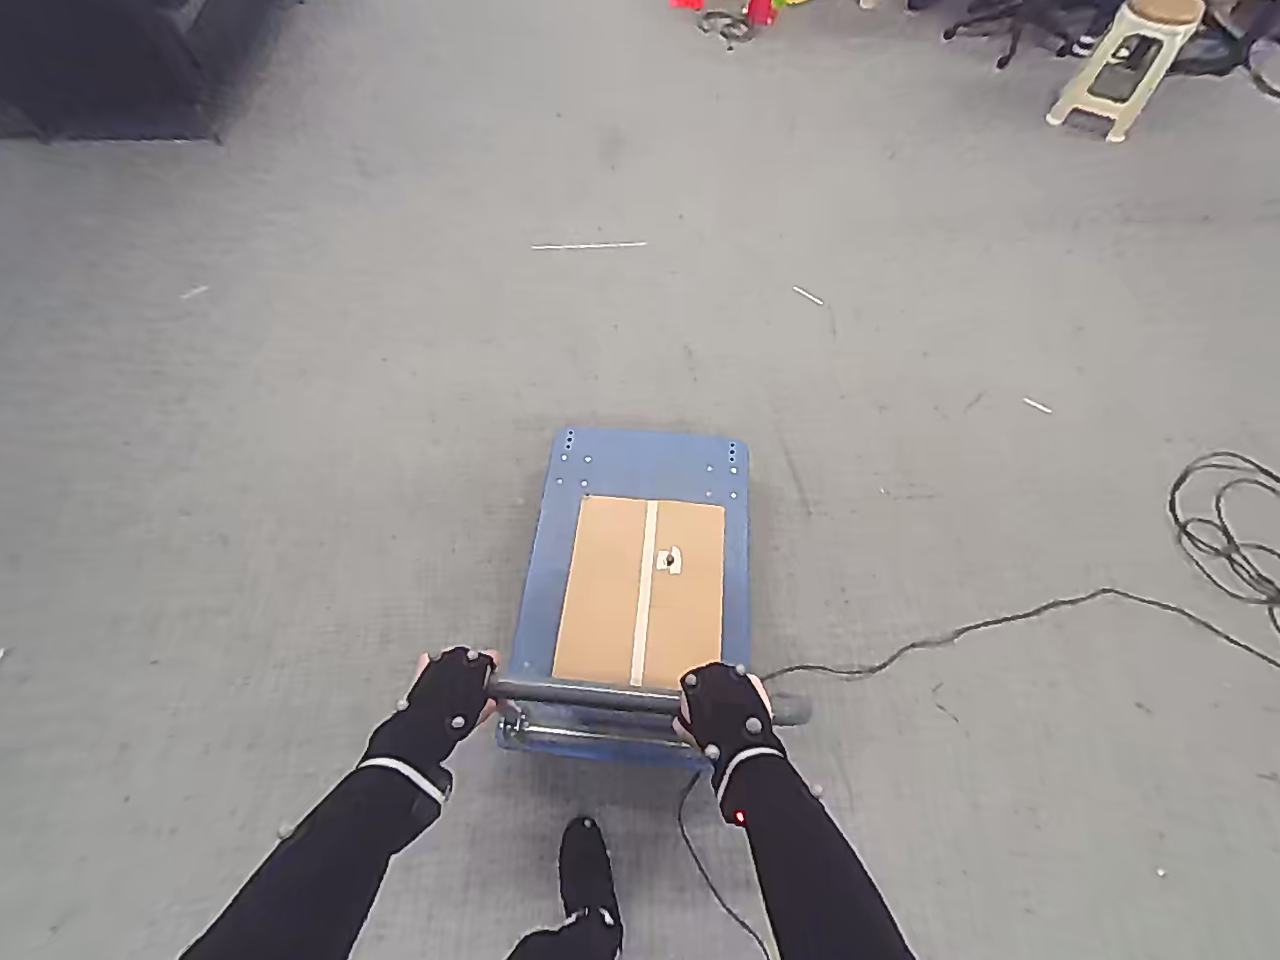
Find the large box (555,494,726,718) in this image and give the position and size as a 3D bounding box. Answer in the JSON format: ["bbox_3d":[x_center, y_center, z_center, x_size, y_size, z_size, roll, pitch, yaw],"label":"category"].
[{"bbox_3d":[0.015,0.288,1.202,0.320,0.320,0.408,6,61,3],"label":"large box"}]
